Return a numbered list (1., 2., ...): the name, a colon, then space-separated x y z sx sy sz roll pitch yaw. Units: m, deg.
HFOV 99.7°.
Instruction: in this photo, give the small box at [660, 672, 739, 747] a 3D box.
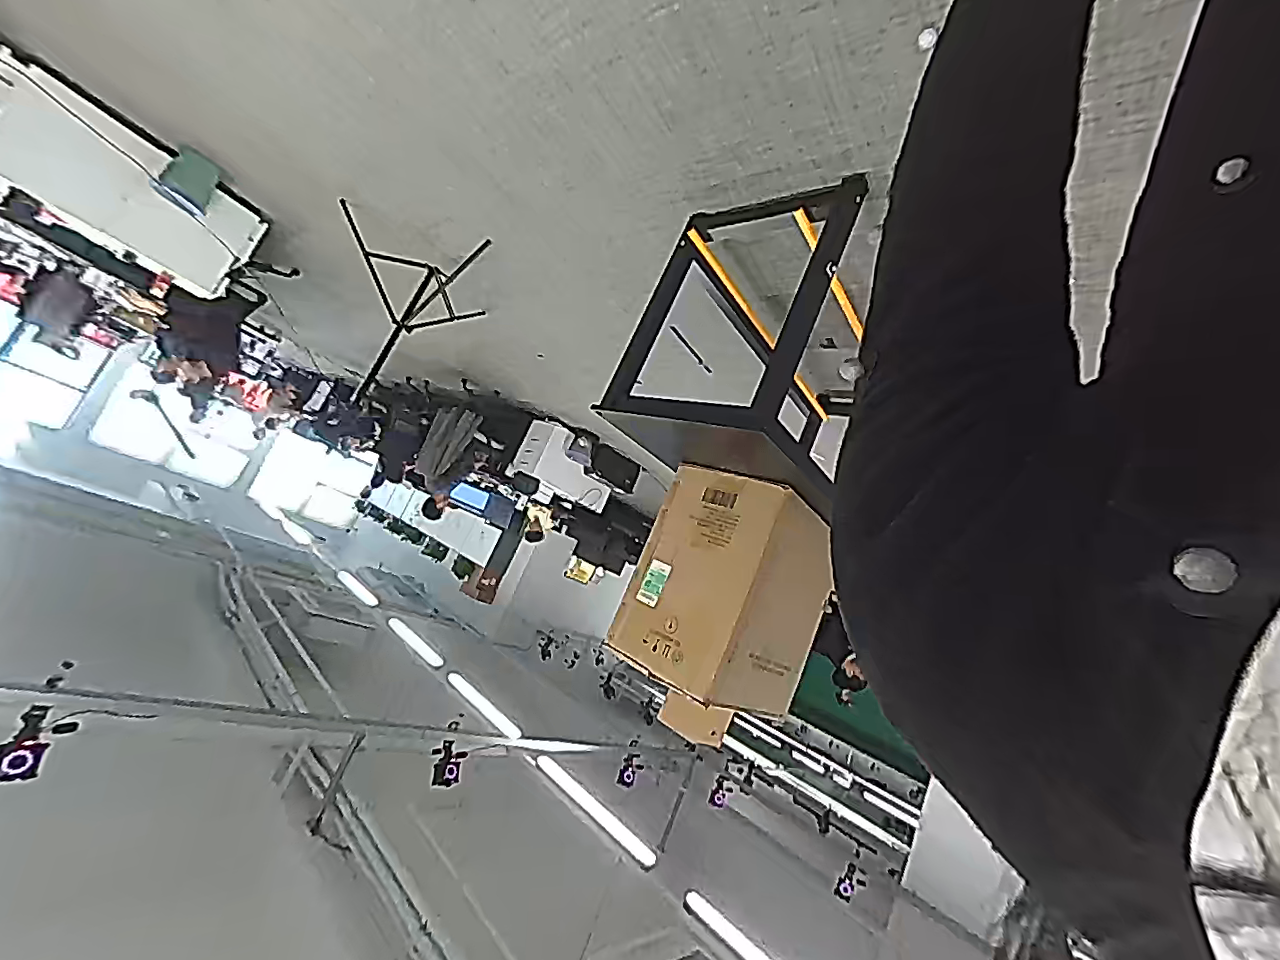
1. small box: 0.205 0.772 1.823 0.168 0.176 0.179 16 165 44
